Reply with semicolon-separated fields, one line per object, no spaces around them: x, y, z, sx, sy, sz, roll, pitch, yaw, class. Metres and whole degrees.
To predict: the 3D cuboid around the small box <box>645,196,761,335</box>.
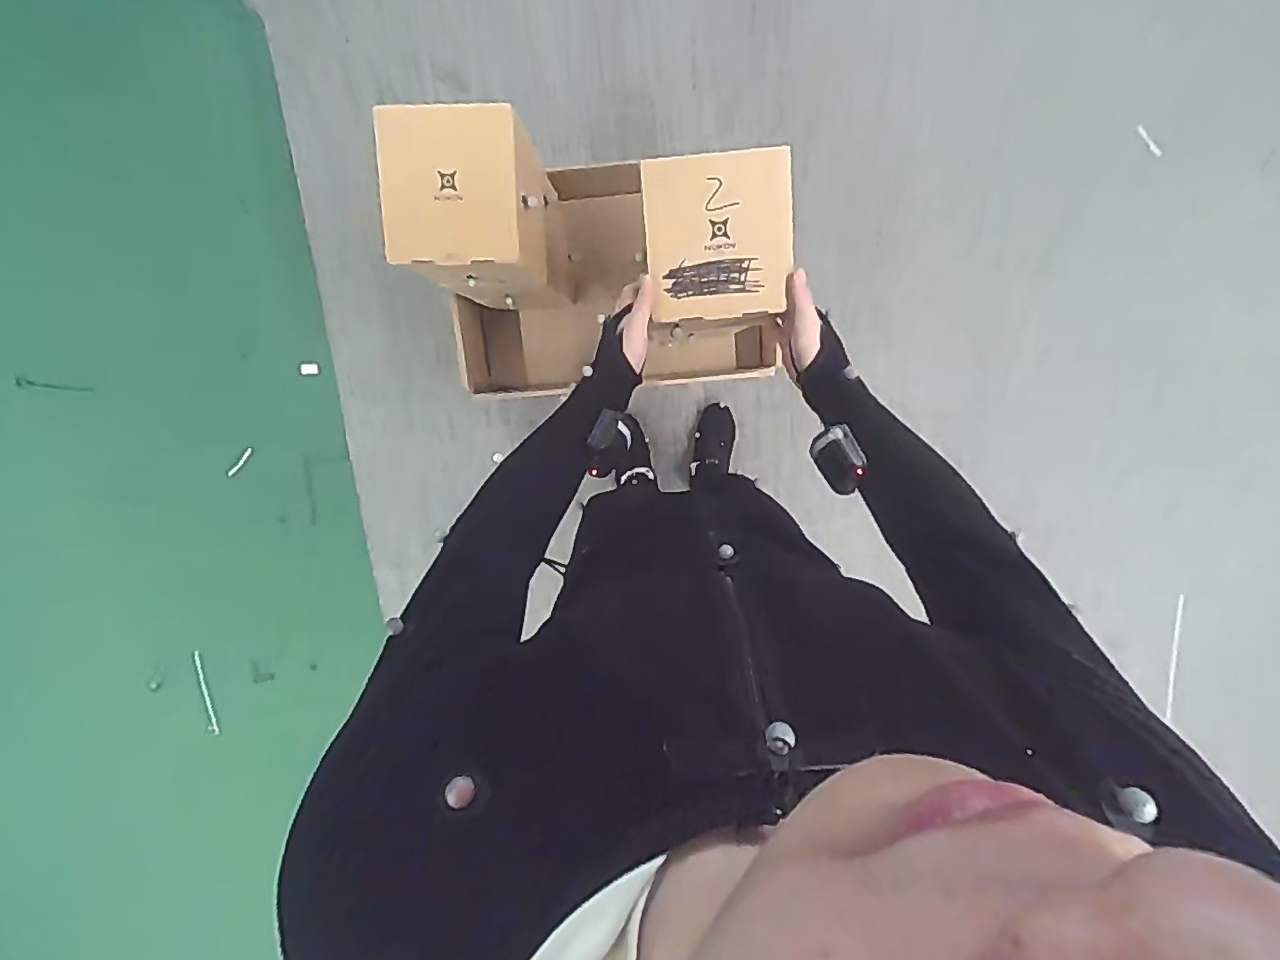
0.096;-0.339;0.884;0.168;0.176;0.179;-5;101;2;small box

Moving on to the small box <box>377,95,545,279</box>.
-0.223;-0.374;0.718;0.168;0.176;0.179;1;102;1;small box

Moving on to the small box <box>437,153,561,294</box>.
-0.224;-0.405;0.877;0.168;0.176;0.179;-1;102;2;small box

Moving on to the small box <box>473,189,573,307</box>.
-0.223;-0.437;1.038;0.168;0.176;0.179;-2;101;1;small box
